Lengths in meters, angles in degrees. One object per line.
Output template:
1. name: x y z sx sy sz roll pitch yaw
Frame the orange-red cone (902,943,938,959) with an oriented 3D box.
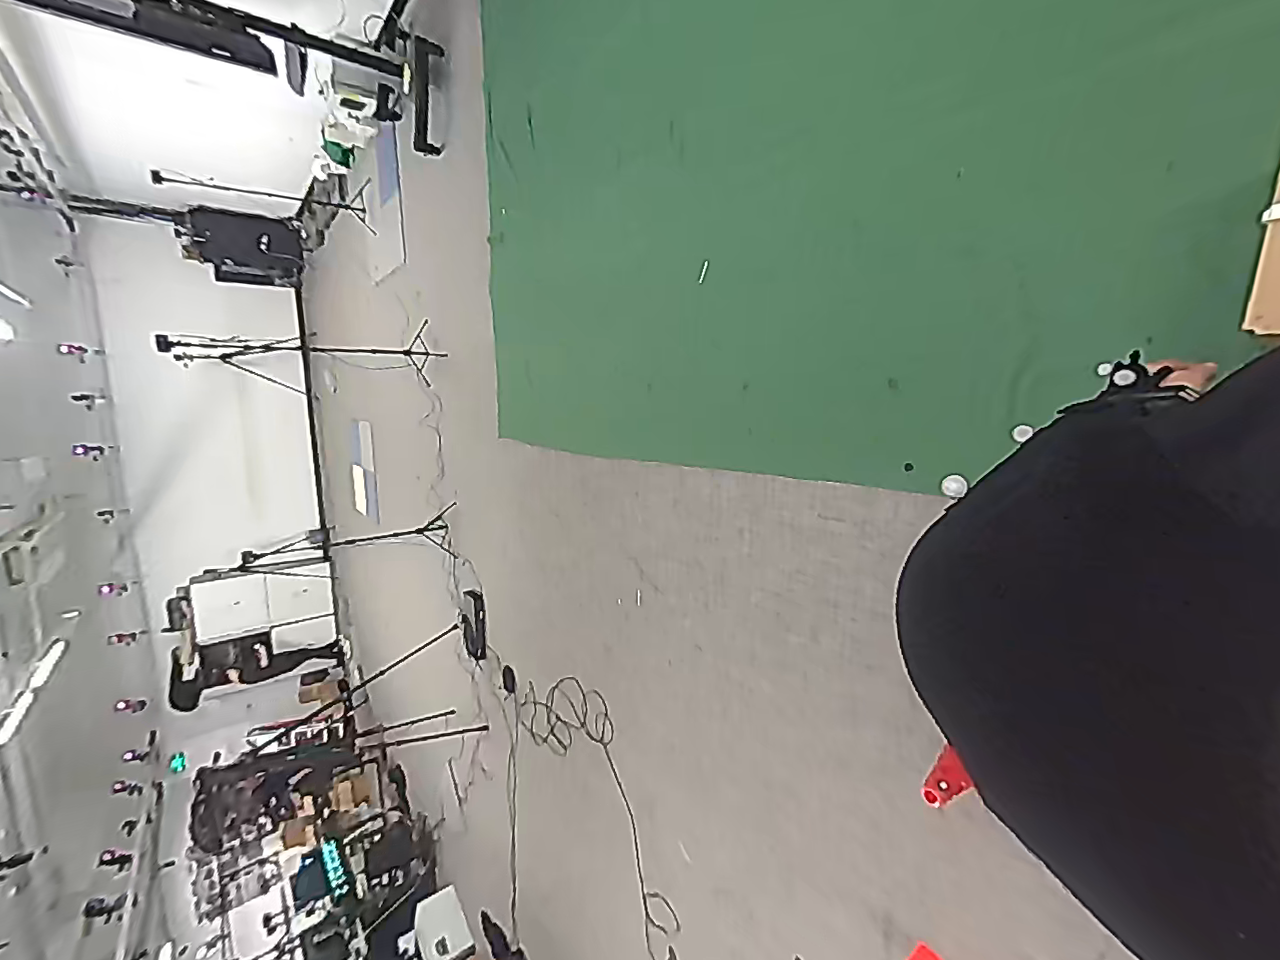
1. orange-red cone: 0.667 1.409 1.359 0.199 0.360 0.198 39 124 44
